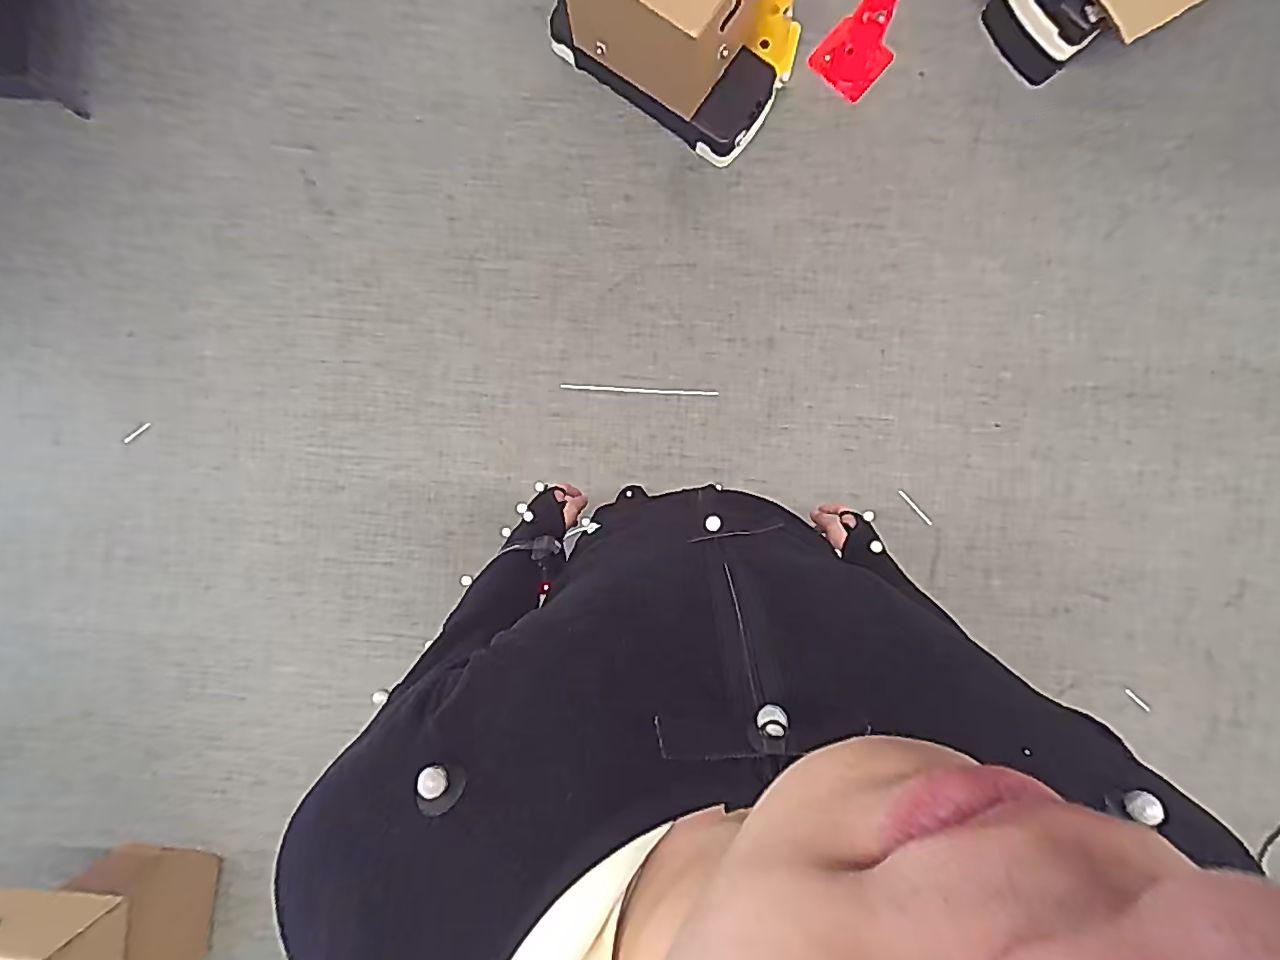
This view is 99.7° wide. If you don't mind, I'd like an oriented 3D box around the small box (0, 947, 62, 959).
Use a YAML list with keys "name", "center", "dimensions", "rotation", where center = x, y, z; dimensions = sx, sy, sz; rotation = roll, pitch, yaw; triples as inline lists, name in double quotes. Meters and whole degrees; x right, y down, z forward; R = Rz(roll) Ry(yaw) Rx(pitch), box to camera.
- name: "small box"
  center: [-1.430, 1.162, 1.168]
  dimensions: [0.179, 0.176, 0.168]
  rotation: [6, 89, 0]
